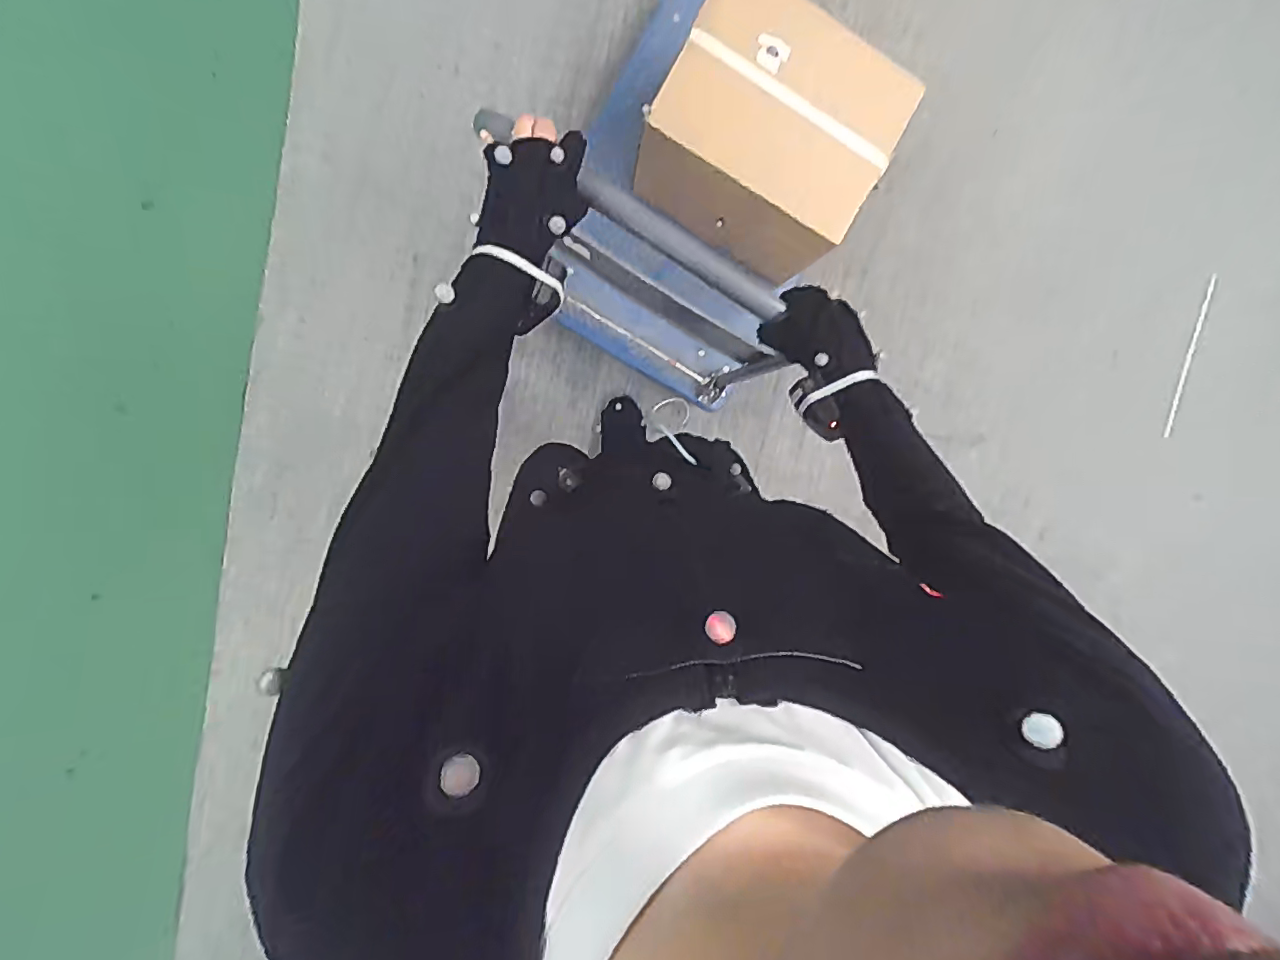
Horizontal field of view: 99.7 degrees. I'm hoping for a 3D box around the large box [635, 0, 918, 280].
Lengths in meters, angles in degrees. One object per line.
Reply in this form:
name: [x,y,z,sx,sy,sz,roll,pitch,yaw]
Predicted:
large box: [0.239,-0.669,1.088,0.408,0.320,0.320,29,93,-6]
